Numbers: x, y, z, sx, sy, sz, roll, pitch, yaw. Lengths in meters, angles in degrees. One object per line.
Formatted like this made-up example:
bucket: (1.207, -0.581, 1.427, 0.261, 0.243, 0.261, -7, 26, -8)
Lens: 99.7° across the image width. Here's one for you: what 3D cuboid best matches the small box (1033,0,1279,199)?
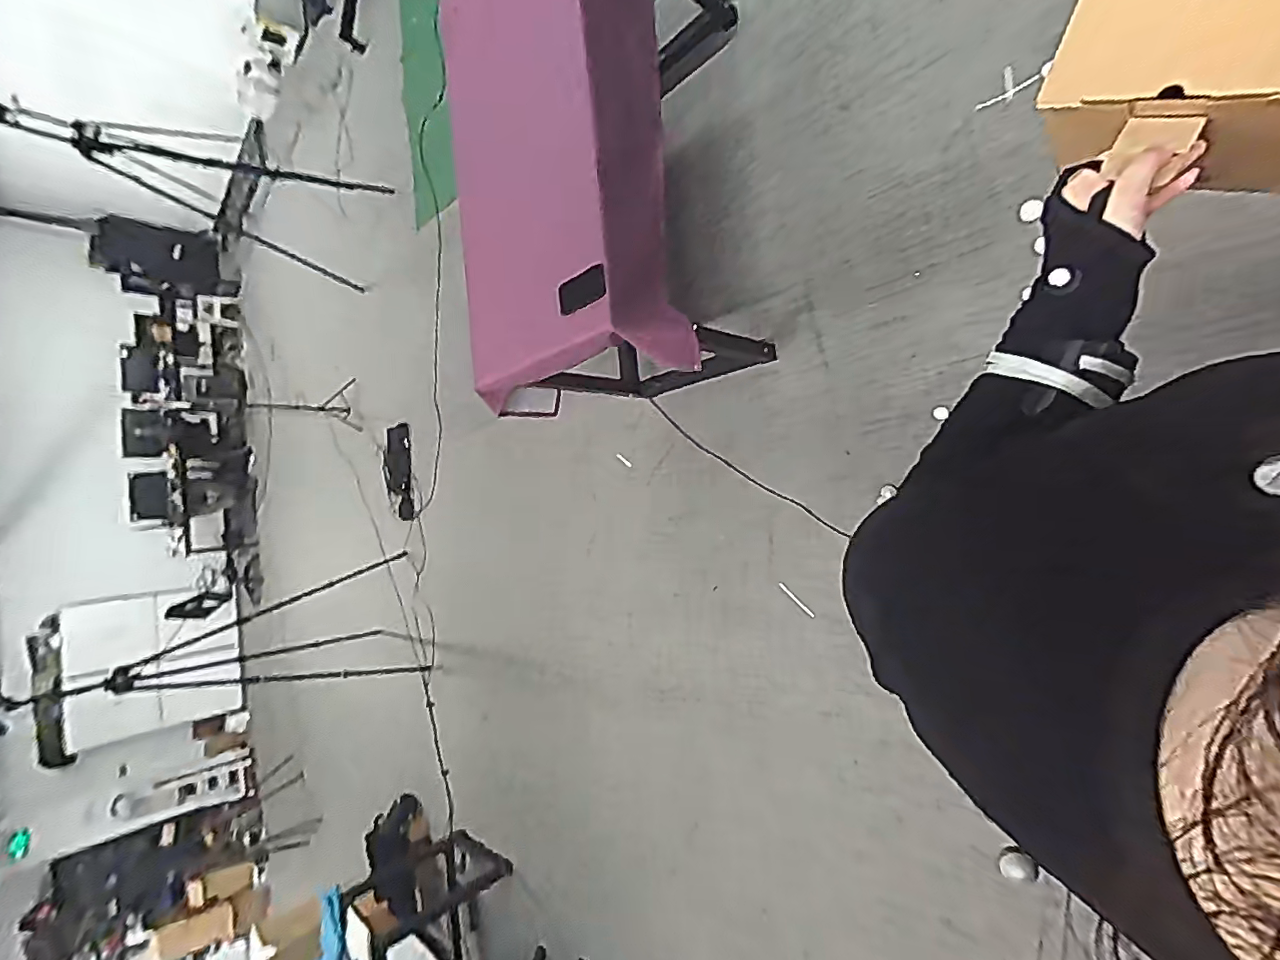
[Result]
small box: (0.441, -0.341, 0.412, 0.168, 0.176, 0.179, 30, 113, 38)
